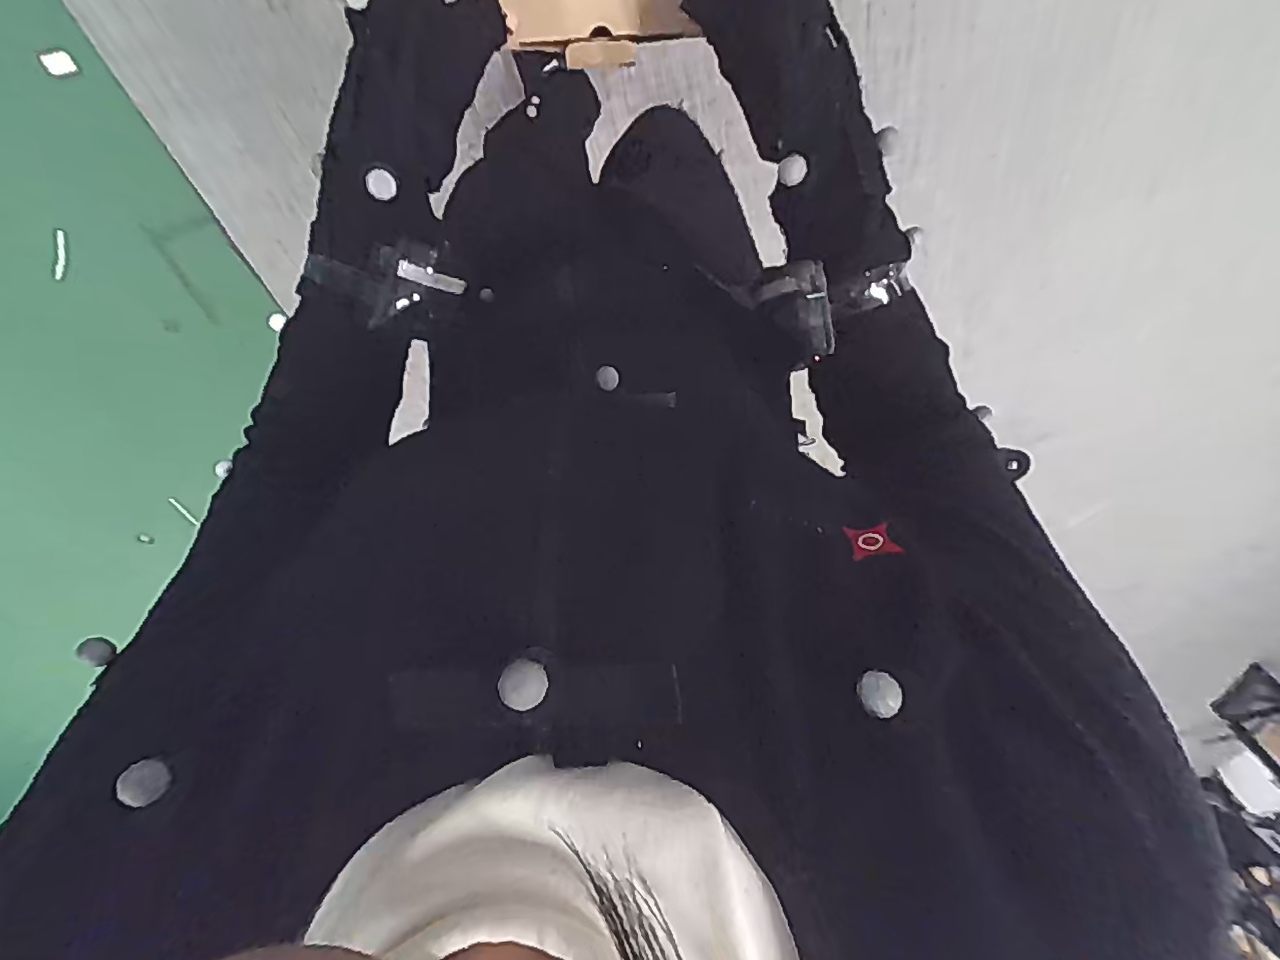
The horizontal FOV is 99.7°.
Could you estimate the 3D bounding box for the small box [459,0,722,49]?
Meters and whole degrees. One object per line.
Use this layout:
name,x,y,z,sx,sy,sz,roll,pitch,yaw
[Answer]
small box,-0.039,-0.399,0.342,0.168,0.176,0.179,-6,134,-2
